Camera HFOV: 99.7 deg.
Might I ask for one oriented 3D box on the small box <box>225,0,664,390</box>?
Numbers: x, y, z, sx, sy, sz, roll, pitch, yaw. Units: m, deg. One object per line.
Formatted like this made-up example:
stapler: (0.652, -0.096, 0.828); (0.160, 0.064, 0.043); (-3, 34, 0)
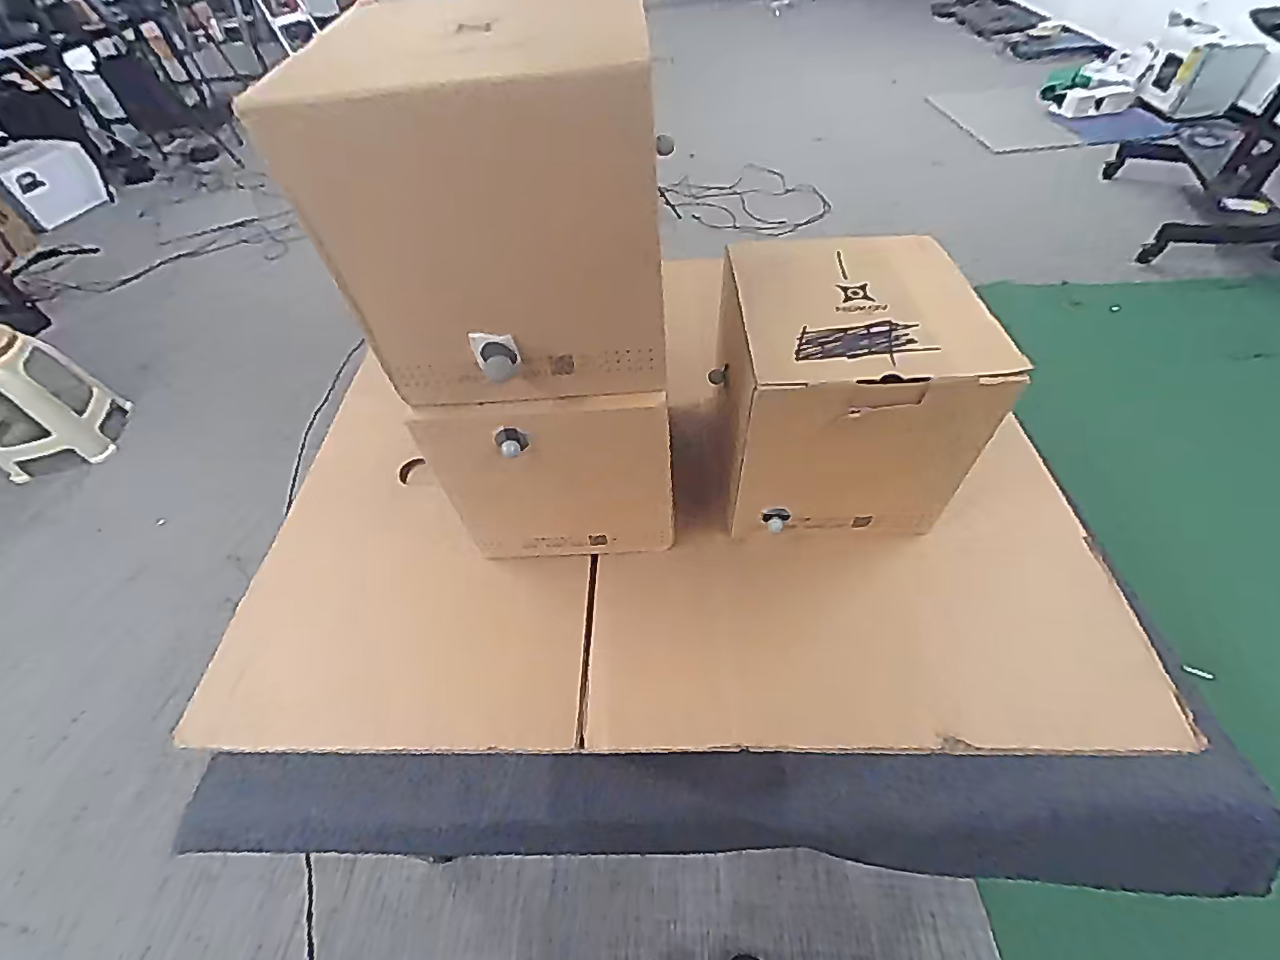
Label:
small box: (-0.075, -0.176, 0.316); (0.168, 0.176, 0.179); (-5, 52, 2)

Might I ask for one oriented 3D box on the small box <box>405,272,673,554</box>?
small box: (-0.060, -0.057, 0.449); (0.168, 0.176, 0.179); (-3, 50, 5)
